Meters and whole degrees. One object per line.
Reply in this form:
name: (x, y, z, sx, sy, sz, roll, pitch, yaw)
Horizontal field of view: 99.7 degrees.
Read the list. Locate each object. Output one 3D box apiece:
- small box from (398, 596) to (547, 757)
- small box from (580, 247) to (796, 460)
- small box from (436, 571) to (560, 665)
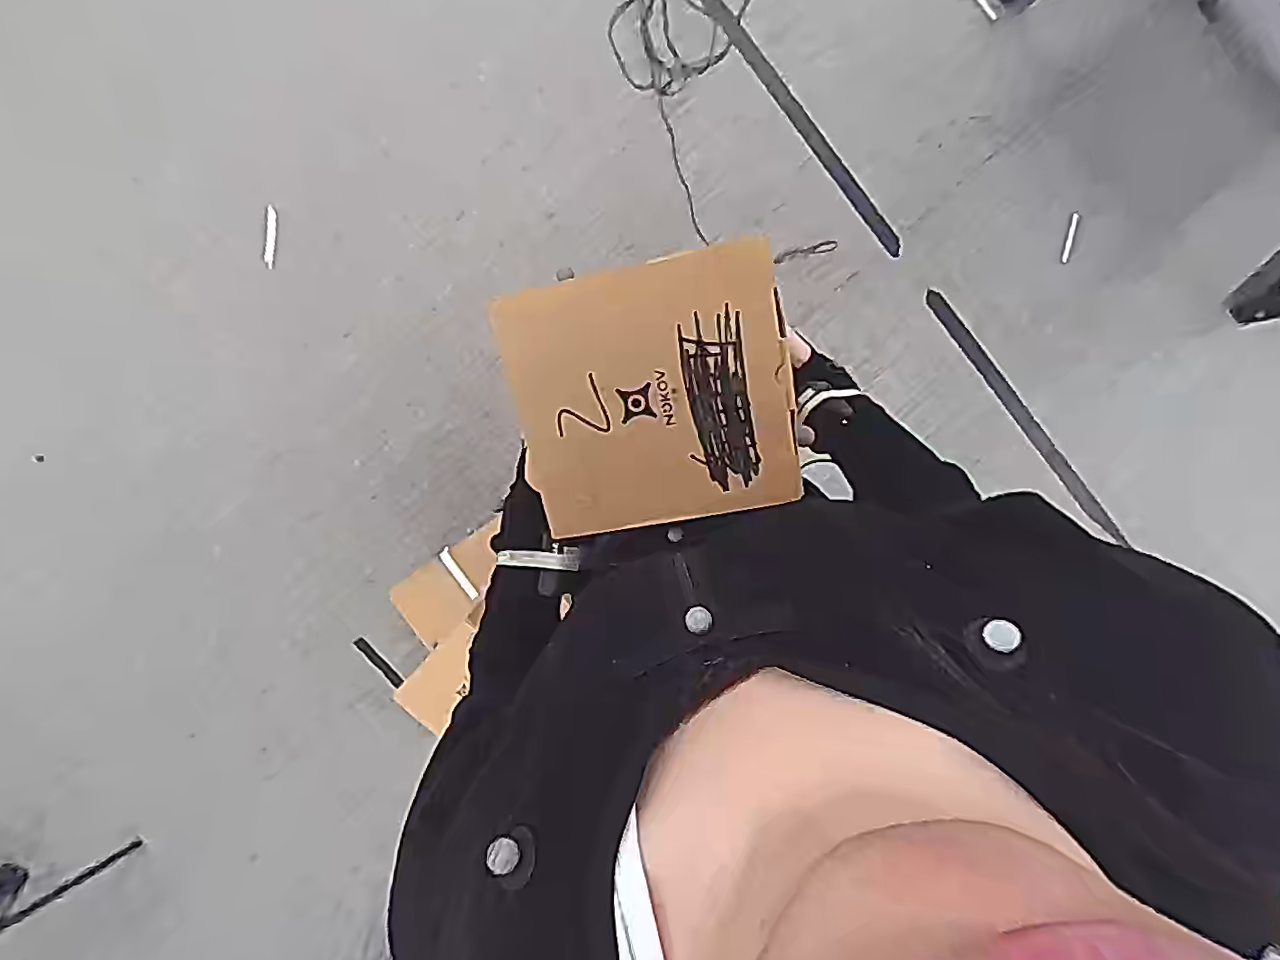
small box: (-0.280, 0.332, 0.955, 0.168, 0.176, 0.179, 42, 90, -3)
small box: (0.052, -0.136, 0.575, 0.179, 0.176, 0.168, -12, 106, 9)
small box: (-0.281, 0.311, 1.117, 0.168, 0.176, 0.179, -32, 93, -2)
